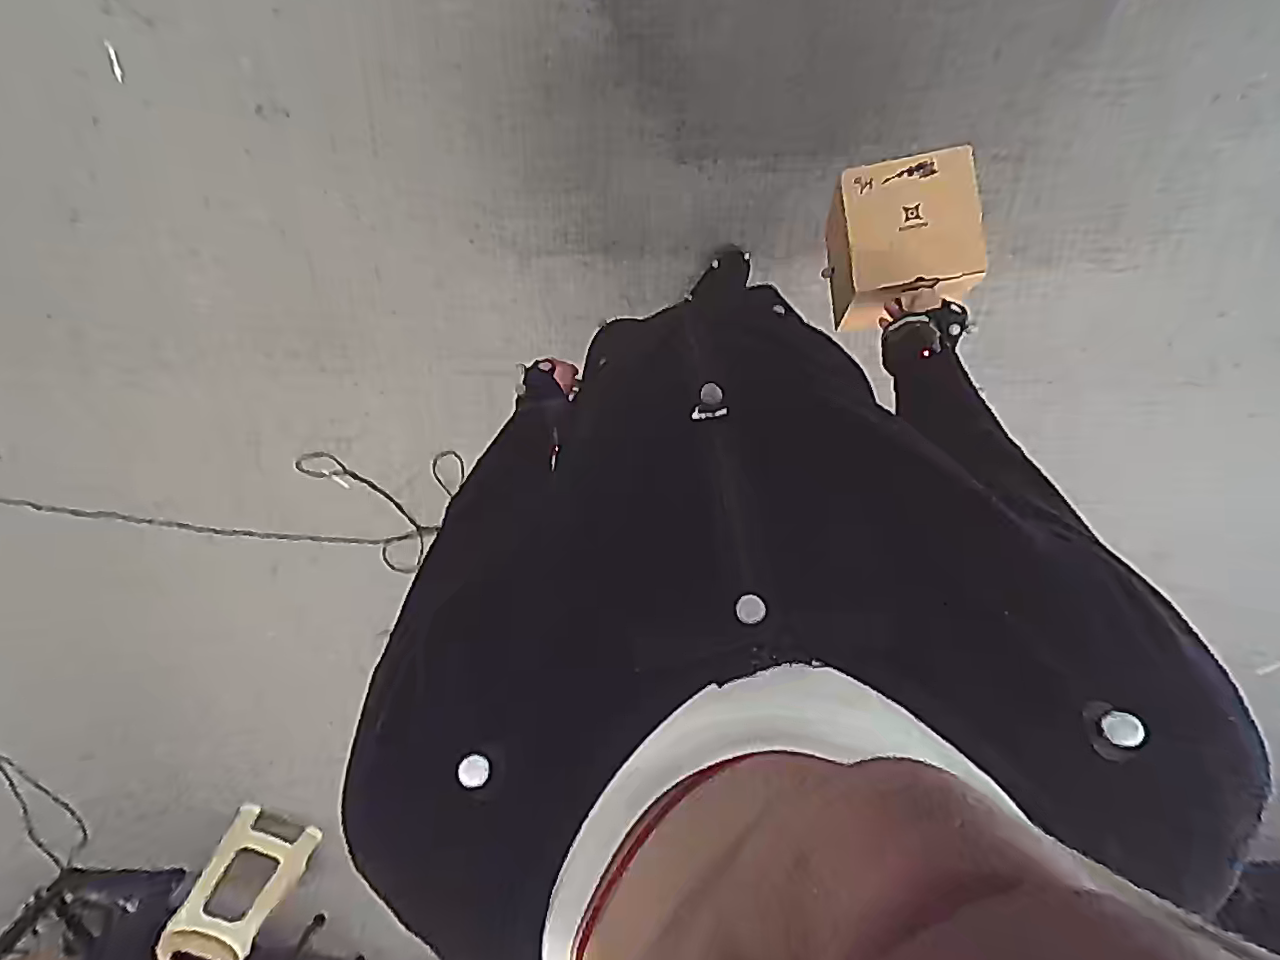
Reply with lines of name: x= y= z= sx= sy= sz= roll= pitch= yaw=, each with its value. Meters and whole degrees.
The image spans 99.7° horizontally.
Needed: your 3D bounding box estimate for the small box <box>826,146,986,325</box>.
small box: x=0.375 y=-0.338 z=0.791 sx=0.168 sy=0.176 sz=0.179 roll=-7 pitch=87 yaw=11
